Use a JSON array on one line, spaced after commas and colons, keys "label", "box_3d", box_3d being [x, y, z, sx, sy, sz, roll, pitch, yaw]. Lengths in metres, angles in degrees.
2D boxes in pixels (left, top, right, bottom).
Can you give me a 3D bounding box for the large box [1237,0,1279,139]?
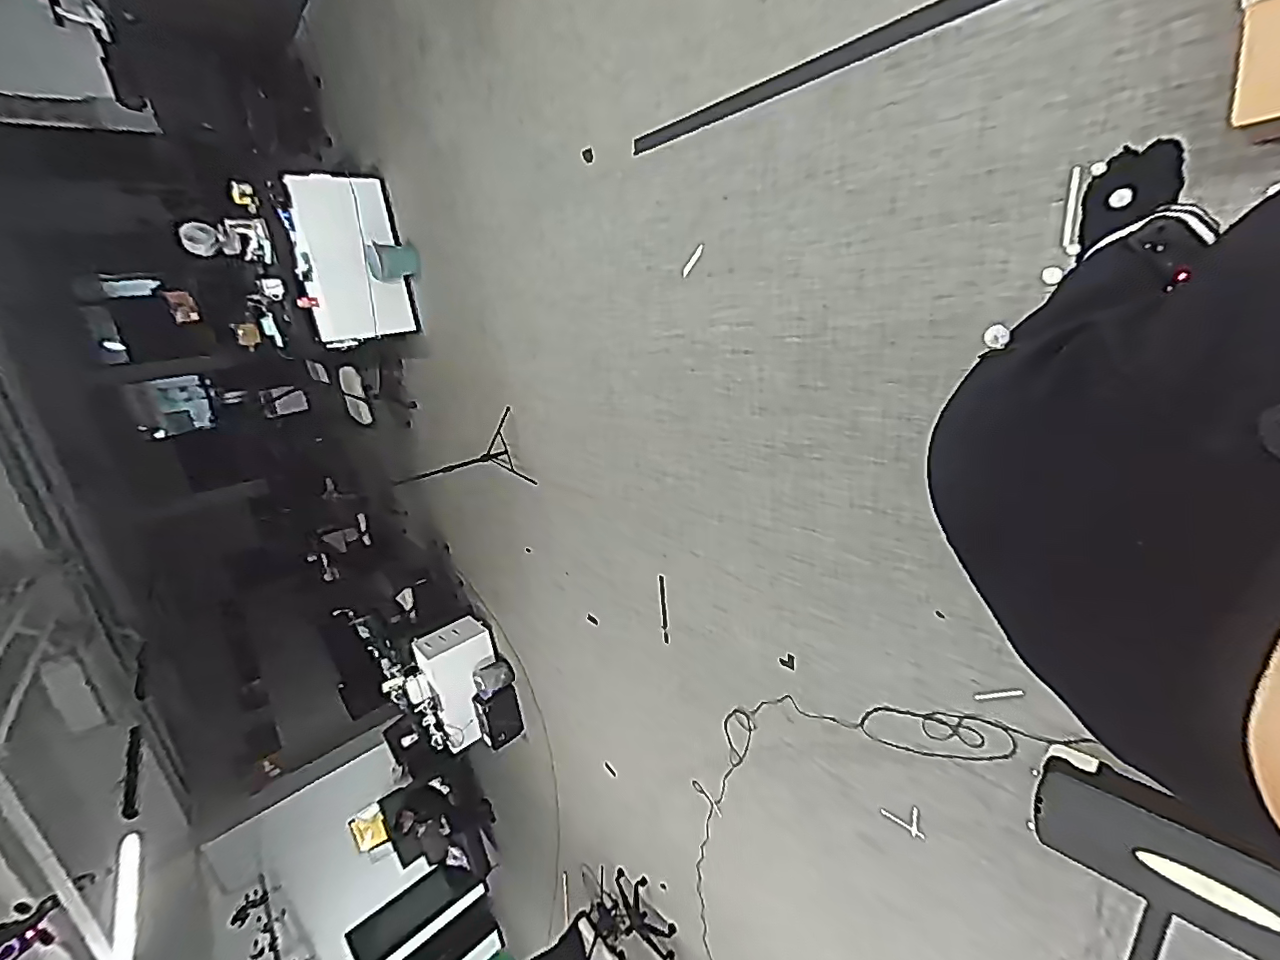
[{"label": "large box", "box_3d": [1.038, -0.664, 0.652, 0.408, 0.320, 0.320, 10, 115, 48]}]
